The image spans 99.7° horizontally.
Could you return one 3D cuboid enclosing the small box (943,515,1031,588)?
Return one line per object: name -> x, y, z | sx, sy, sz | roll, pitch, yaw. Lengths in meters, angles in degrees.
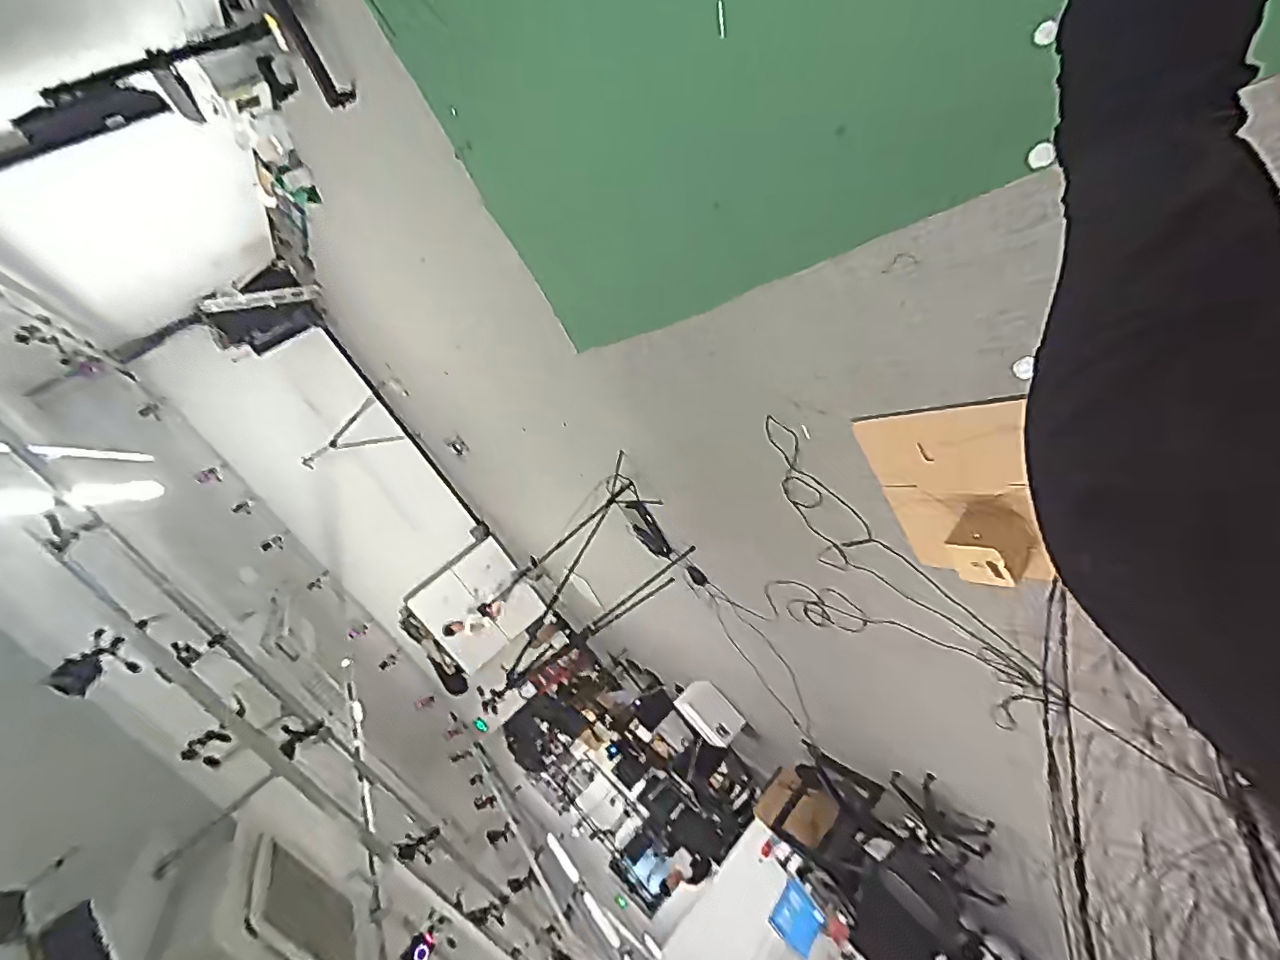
small box -> 1.144, 0.227, 1.772 | 0.168, 0.176, 0.179 | 55, 156, -15
